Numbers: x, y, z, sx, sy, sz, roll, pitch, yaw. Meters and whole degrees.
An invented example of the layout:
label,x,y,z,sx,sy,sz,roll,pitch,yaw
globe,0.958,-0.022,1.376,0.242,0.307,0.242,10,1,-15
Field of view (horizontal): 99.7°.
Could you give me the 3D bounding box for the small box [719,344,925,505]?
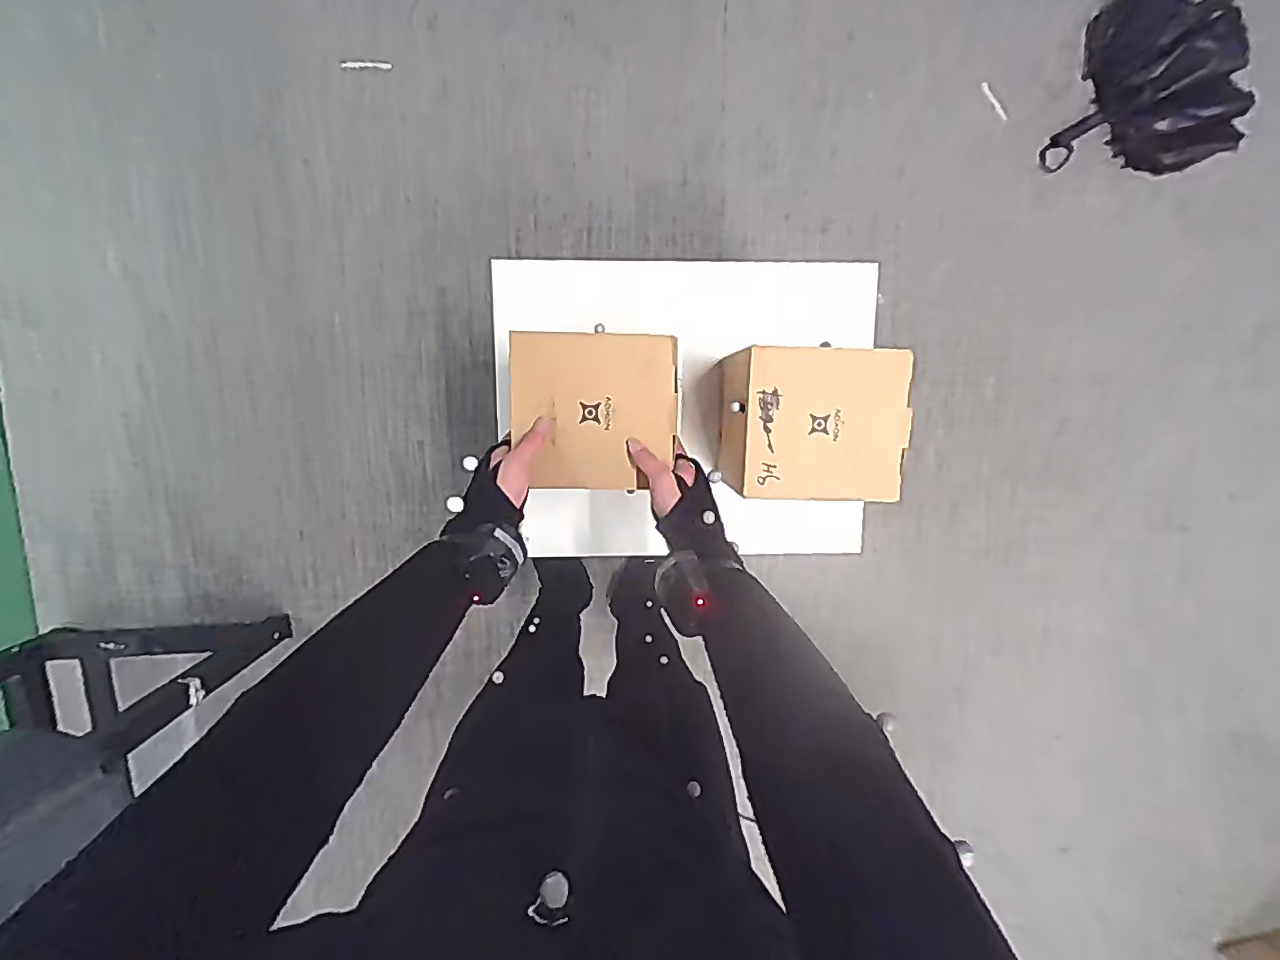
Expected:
label,x,y,z,sx,sy,sz,roll,pitch,yaw
small box,0.203,-0.069,0.650,0.179,0.176,0.168,2,99,-4
